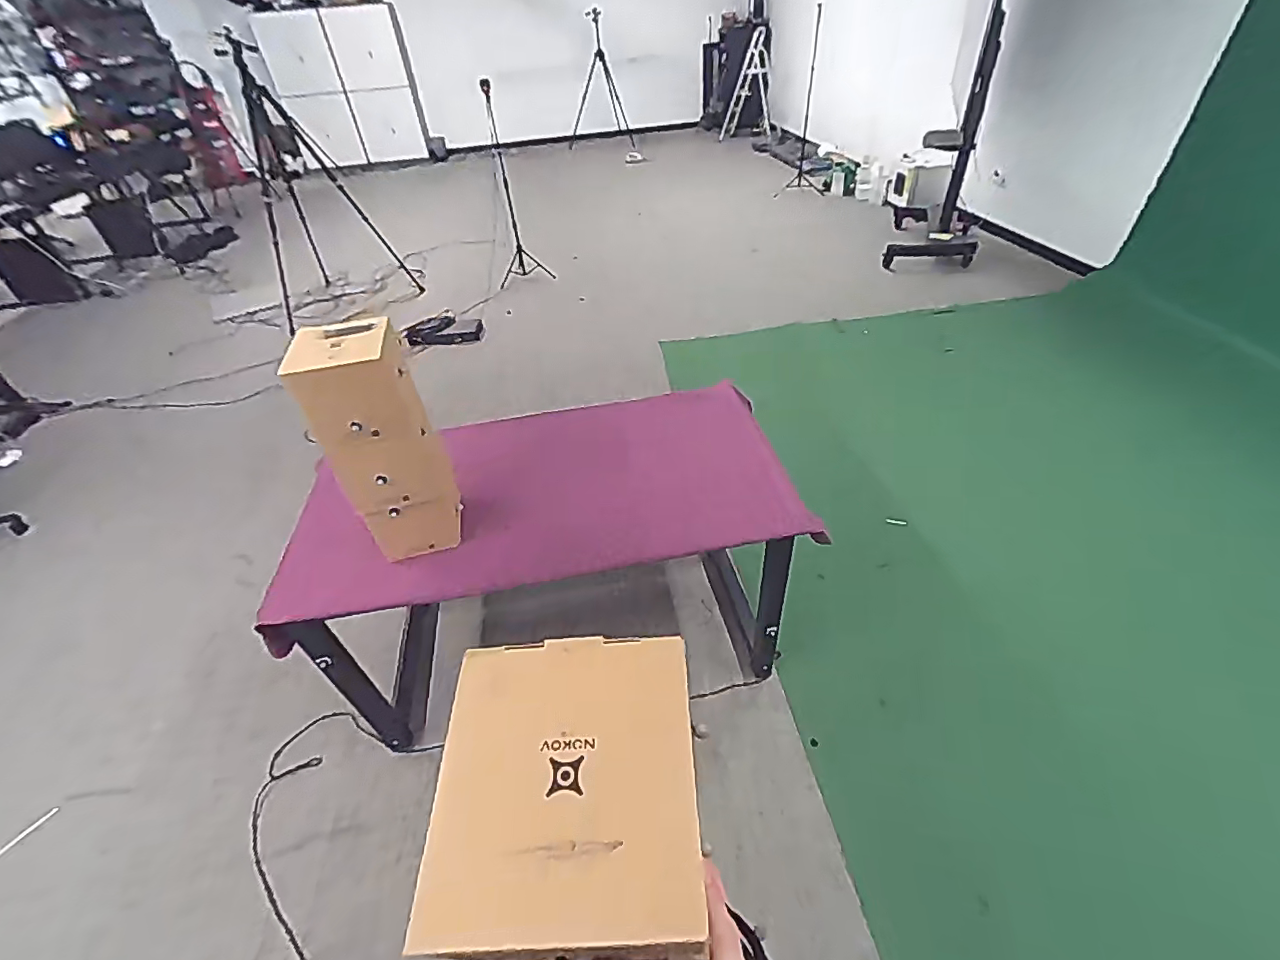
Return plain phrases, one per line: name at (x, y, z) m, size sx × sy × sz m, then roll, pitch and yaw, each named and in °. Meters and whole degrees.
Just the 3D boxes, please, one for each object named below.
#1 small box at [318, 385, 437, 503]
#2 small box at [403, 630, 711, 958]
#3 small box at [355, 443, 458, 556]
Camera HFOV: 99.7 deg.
small box at (-0.525, -0.068, 1.108) m, size 0.168 × 0.176 × 0.179 m, roll -11°, pitch 42°, yaw -9°
small box at (-0.041, 0.230, 0.396) m, size 0.168 × 0.176 × 0.179 m, roll -3°, pitch 48°, yaw 2°
small box at (-0.521, 0.044, 1.230) m, size 0.168 × 0.176 × 0.179 m, roll -13°, pitch 42°, yaw -9°
